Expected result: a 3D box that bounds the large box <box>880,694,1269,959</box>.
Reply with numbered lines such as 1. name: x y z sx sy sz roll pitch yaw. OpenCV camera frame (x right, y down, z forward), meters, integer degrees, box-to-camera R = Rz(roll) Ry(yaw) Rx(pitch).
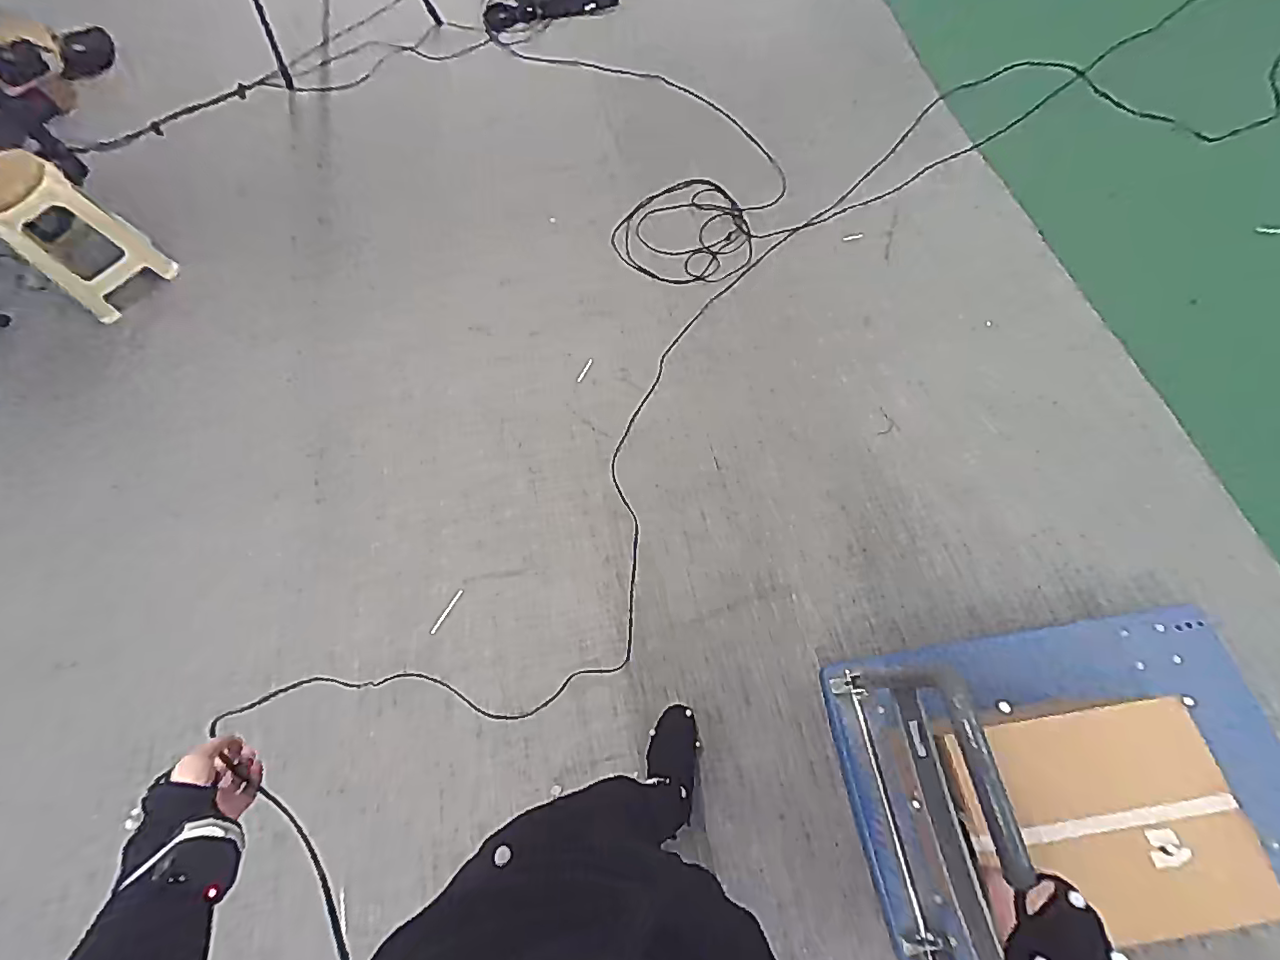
1. large box: 0.735 0.603 1.004 0.408 0.320 0.320 -11 67 1
